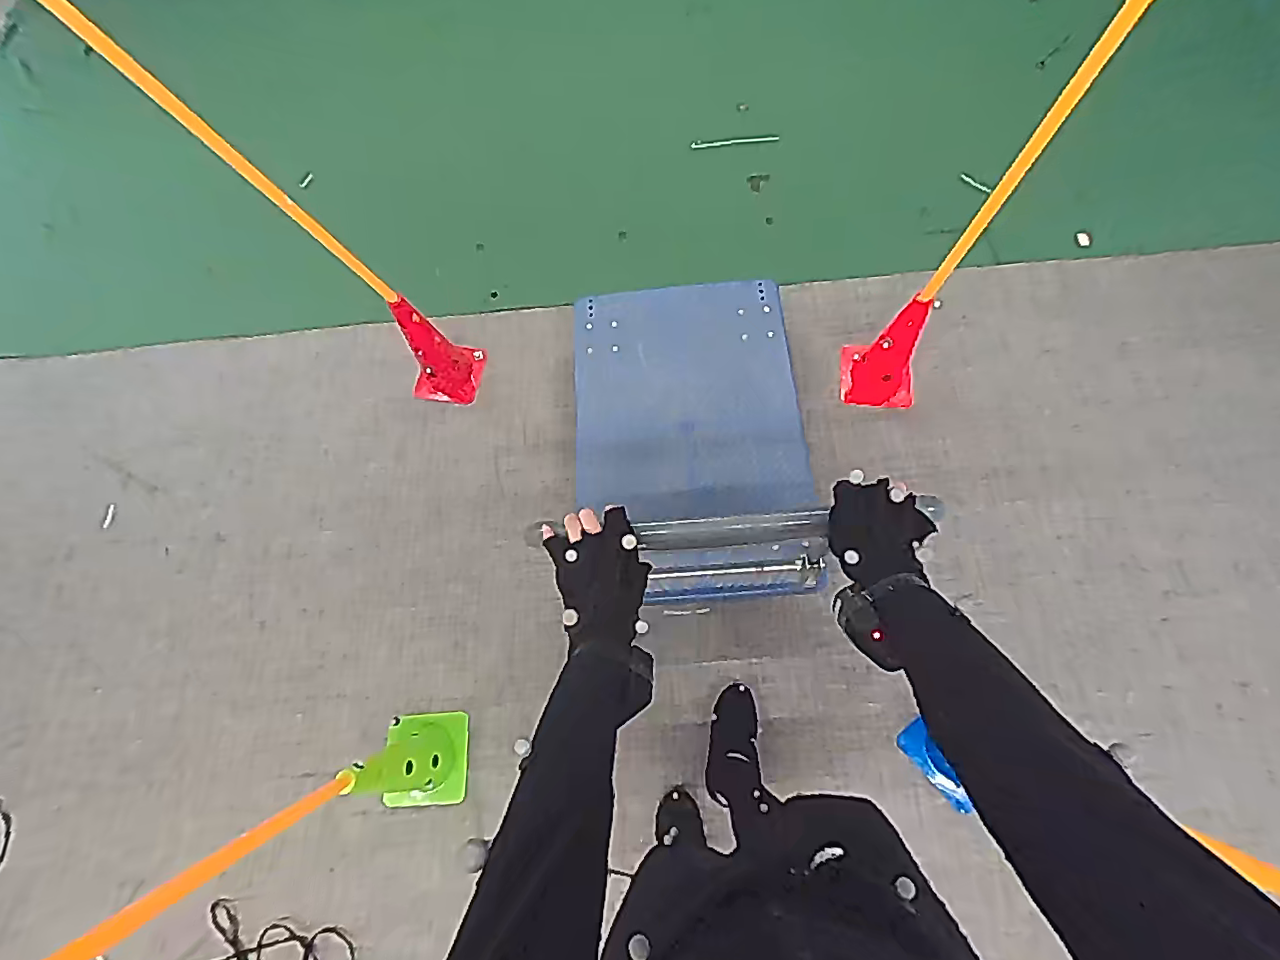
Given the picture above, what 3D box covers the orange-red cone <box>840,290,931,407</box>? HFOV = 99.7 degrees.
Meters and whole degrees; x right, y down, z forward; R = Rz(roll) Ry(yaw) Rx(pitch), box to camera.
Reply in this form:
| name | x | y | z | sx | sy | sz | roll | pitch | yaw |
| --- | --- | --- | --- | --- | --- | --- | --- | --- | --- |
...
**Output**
| name | x | y | z | sx | sy | sz | roll | pitch | yaw |
| --- | --- | --- | --- | --- | --- | --- | --- | --- | --- |
| orange-red cone | 0.676 | -0.365 | 1.422 | 0.198 | 0.360 | 0.199 | 6 | 71 | 7 |
